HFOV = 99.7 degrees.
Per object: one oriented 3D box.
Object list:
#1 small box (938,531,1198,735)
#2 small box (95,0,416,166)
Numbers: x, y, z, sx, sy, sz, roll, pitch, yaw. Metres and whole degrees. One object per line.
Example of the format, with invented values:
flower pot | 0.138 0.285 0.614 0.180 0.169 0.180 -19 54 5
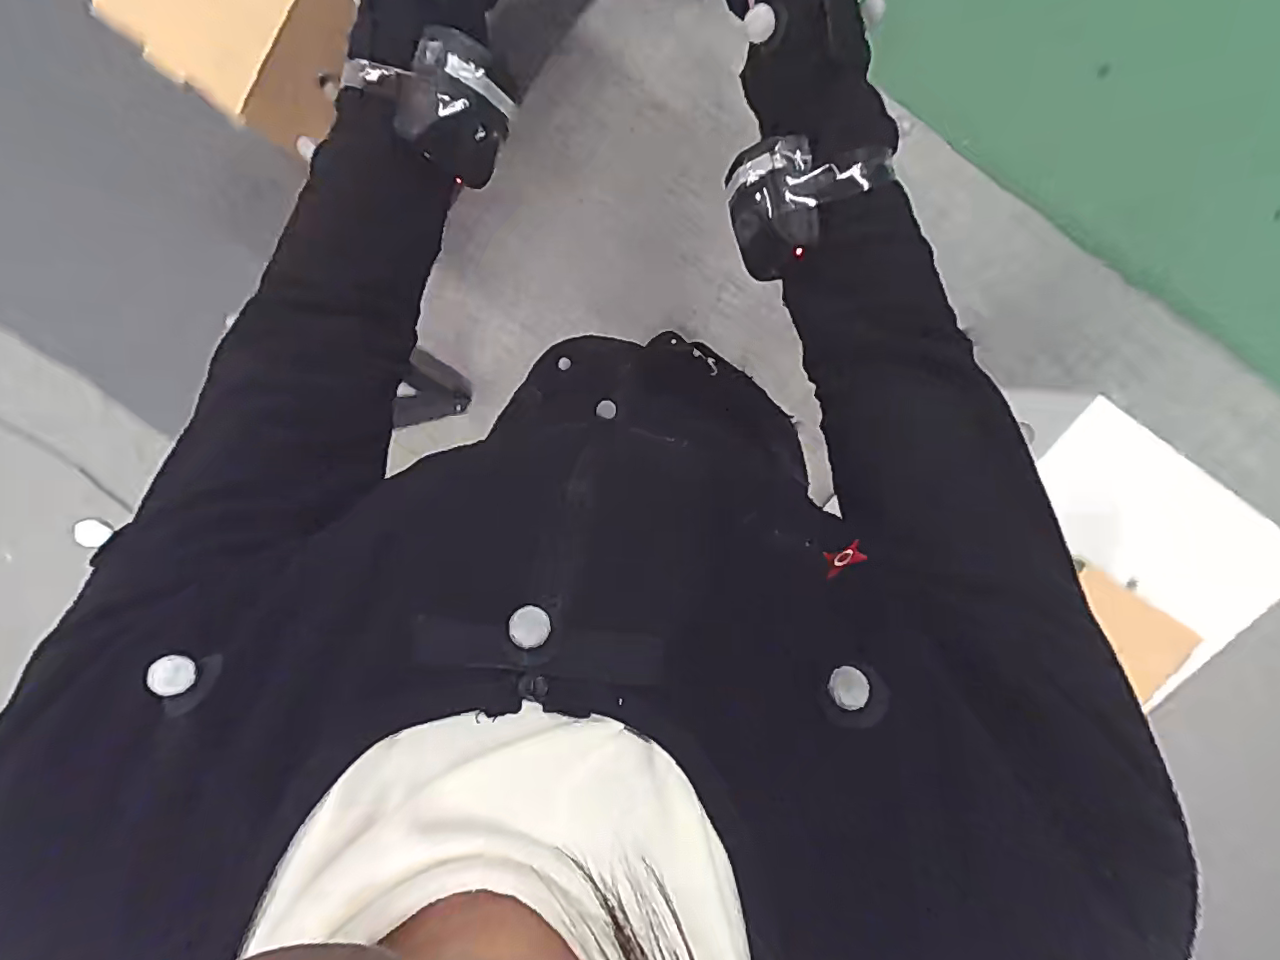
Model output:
small box | 0.554 0.192 0.731 0.179 0.176 0.168 32 103 -1
small box | -0.360 -0.457 0.536 0.168 0.176 0.179 38 104 -2
